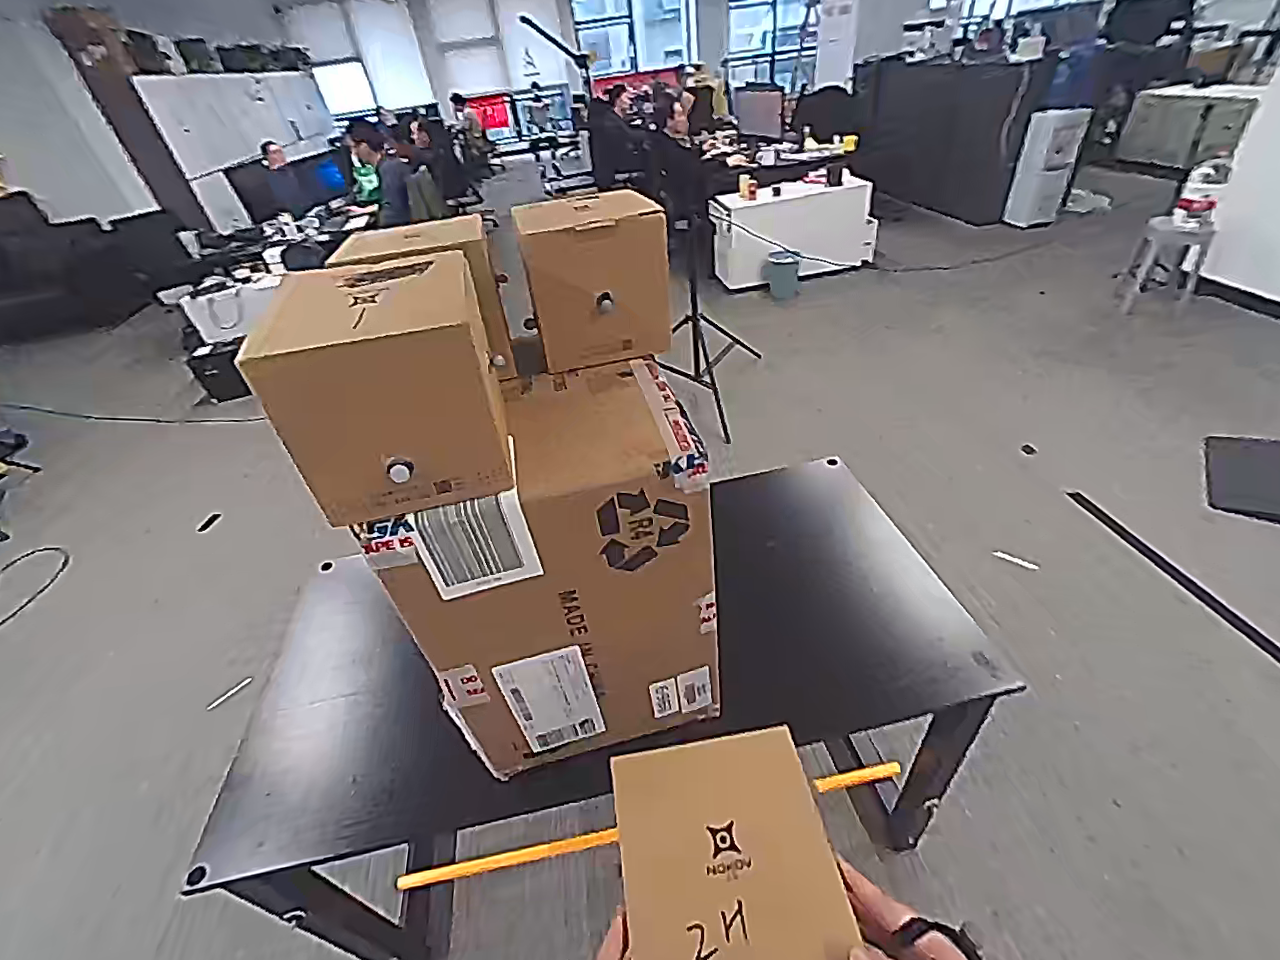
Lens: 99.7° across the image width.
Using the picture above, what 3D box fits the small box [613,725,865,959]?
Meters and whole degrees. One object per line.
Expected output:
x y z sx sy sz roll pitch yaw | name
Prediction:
0.071 0.353 0.482 0.168 0.176 0.179 -9 41 -3 | small box

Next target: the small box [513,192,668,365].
-0.064 -0.261 0.711 0.168 0.176 0.179 -12 38 -9 | small box

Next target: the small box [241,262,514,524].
-0.222 -0.086 0.510 0.168 0.176 0.179 -13 40 -9 | small box

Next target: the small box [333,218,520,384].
-0.258 -0.220 0.692 0.168 0.176 0.179 -15 37 -8 | small box
